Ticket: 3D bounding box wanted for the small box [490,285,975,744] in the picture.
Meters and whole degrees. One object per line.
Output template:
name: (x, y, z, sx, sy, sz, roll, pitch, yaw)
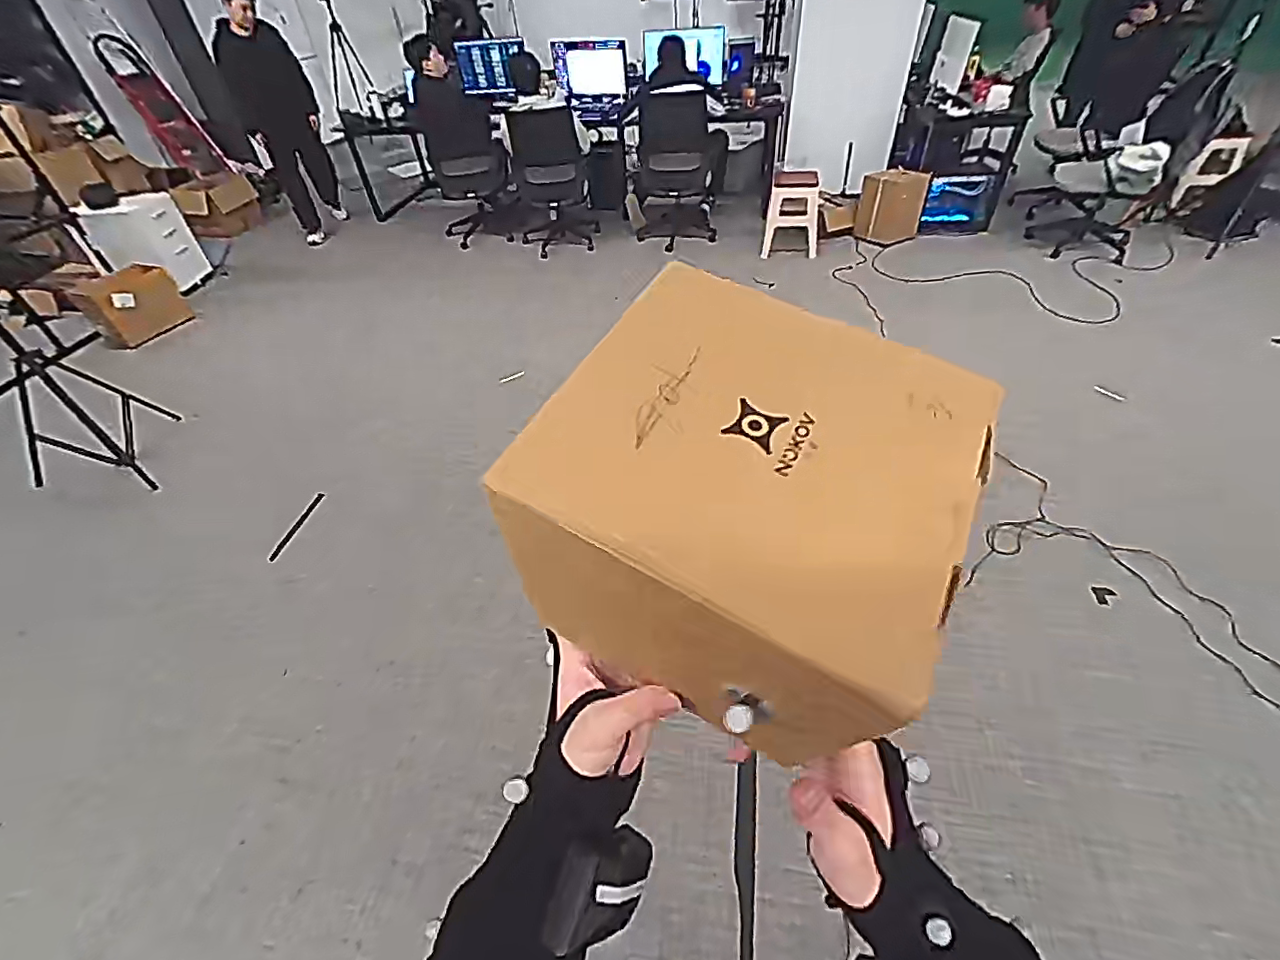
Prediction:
small box: (0.048, 0.028, 0.309, 0.179, 0.176, 0.168, 24, 58, 13)
